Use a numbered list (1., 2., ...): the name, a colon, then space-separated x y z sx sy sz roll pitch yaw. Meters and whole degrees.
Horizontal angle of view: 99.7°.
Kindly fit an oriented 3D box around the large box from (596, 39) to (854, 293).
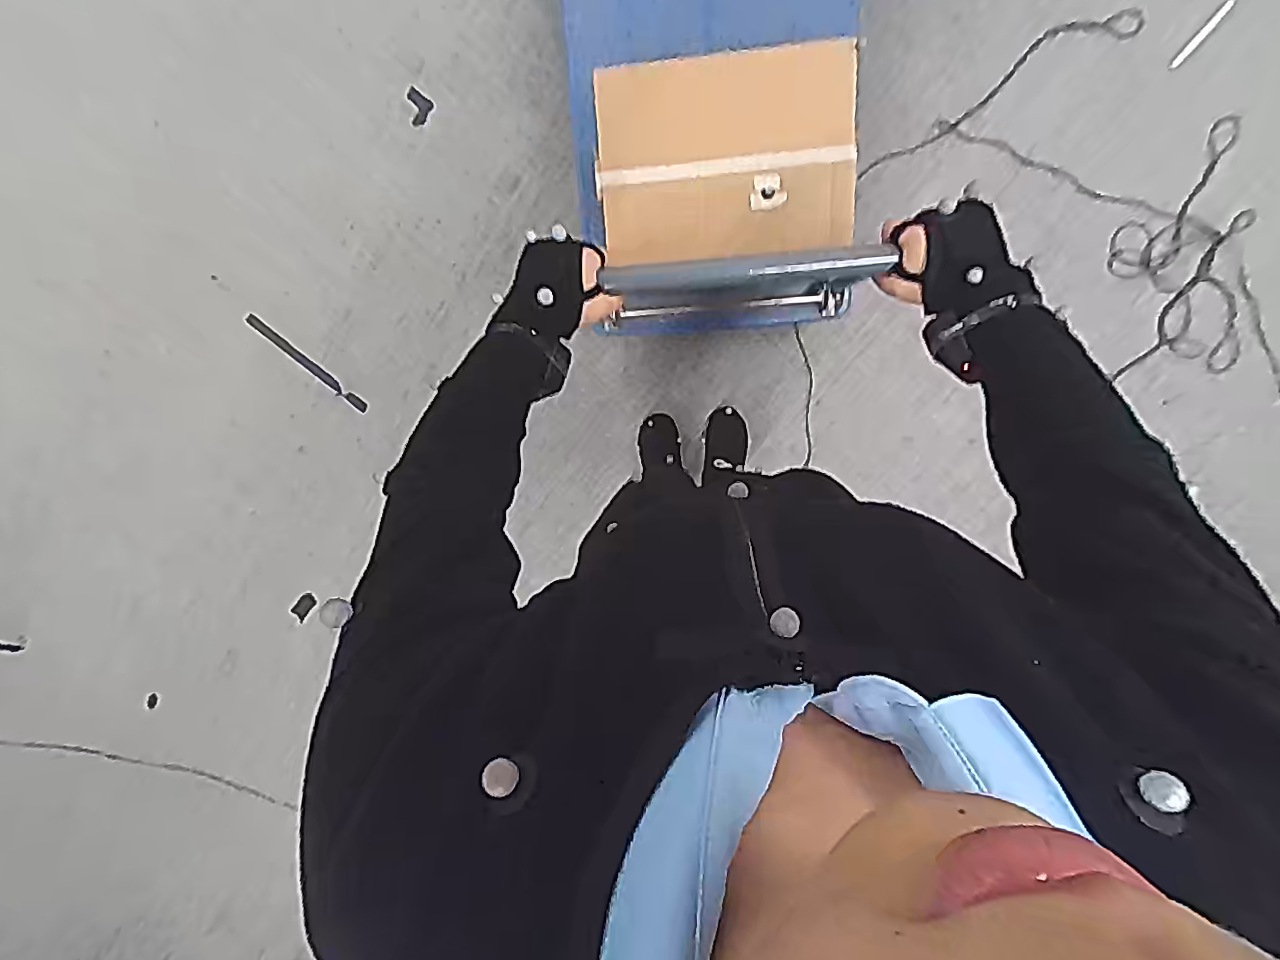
1. large box: 0.148 -0.542 1.014 0.408 0.320 0.320 -3 105 5
